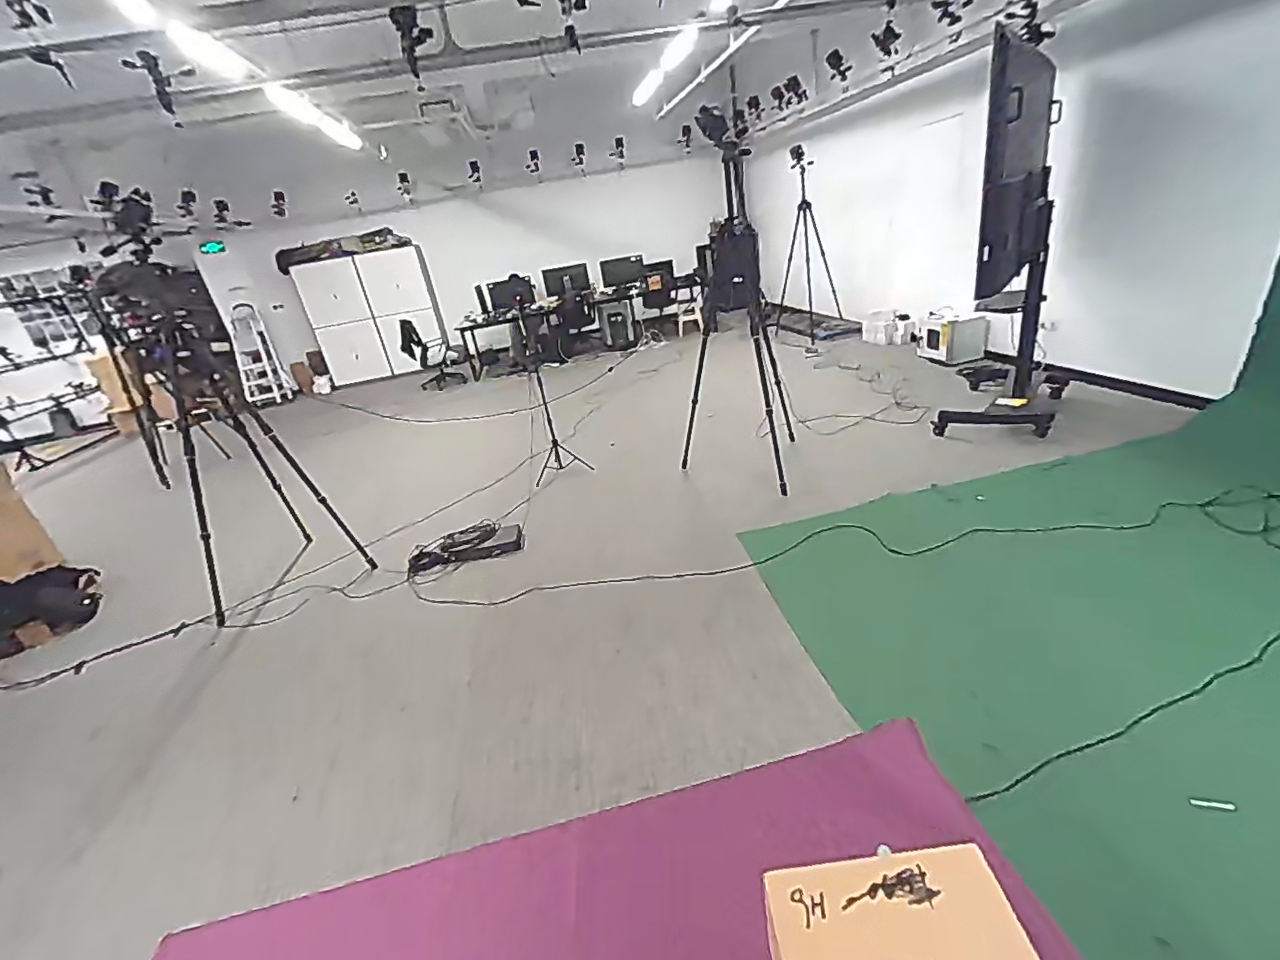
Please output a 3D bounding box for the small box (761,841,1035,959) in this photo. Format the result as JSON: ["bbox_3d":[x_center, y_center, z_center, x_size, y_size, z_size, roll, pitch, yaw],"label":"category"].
[{"bbox_3d":[0.190,0.398,0.383,0.168,0.176,0.179,-10,32,3],"label":"small box"}]
